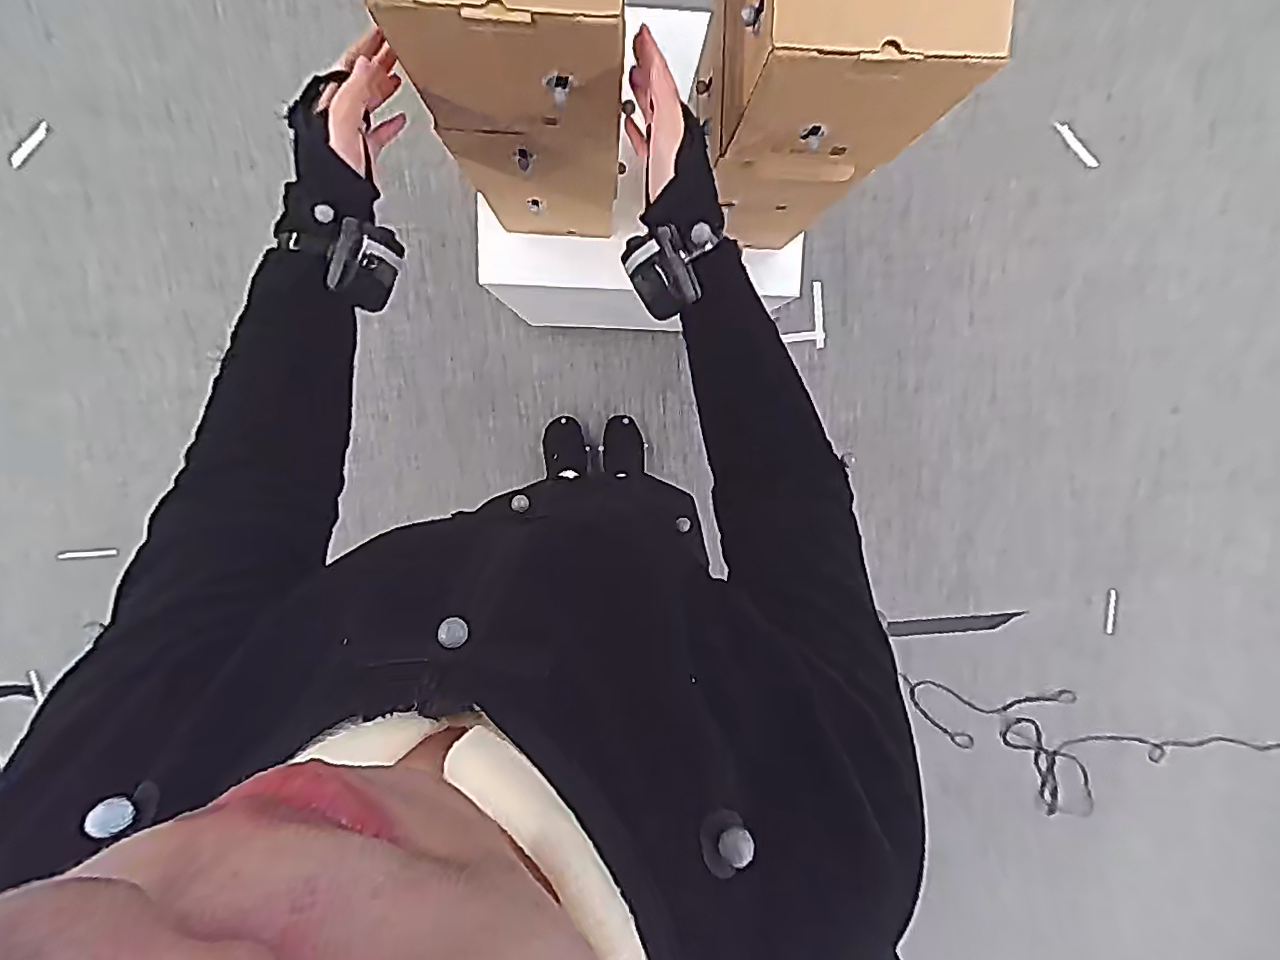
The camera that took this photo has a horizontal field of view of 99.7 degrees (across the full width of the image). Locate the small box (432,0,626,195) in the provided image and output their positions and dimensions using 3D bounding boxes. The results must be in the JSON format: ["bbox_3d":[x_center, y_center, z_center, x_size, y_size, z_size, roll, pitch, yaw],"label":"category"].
[{"bbox_3d":[-0.106,-0.418,0.572,0.179,0.176,0.168,2,101,-4],"label":"small box"}]

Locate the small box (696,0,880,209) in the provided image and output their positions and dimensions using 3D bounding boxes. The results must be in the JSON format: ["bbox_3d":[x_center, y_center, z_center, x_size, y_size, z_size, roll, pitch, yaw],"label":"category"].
[{"bbox_3d":[0.155,-0.411,0.587,0.168,0.176,0.179,0,99,-3],"label":"small box"}]

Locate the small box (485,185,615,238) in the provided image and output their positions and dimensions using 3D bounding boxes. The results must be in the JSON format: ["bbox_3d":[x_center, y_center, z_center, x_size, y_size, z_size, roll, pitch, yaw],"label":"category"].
[{"bbox_3d":[-0.114,-0.450,0.733,0.168,0.176,0.179,2,99,-4],"label":"small box"}]

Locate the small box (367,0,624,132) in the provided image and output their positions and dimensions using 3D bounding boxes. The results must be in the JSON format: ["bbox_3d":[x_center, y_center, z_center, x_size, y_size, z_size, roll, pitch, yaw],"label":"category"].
[{"bbox_3d":[-0.094,-0.396,0.410,0.168,0.176,0.179,2,99,-4],"label":"small box"}]

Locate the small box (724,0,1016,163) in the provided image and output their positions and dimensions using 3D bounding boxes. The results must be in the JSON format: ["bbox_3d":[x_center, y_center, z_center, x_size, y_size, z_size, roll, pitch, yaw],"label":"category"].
[{"bbox_3d":[0.165,-0.382,0.428,0.168,0.176,0.179,0,100,-3],"label":"small box"}]
